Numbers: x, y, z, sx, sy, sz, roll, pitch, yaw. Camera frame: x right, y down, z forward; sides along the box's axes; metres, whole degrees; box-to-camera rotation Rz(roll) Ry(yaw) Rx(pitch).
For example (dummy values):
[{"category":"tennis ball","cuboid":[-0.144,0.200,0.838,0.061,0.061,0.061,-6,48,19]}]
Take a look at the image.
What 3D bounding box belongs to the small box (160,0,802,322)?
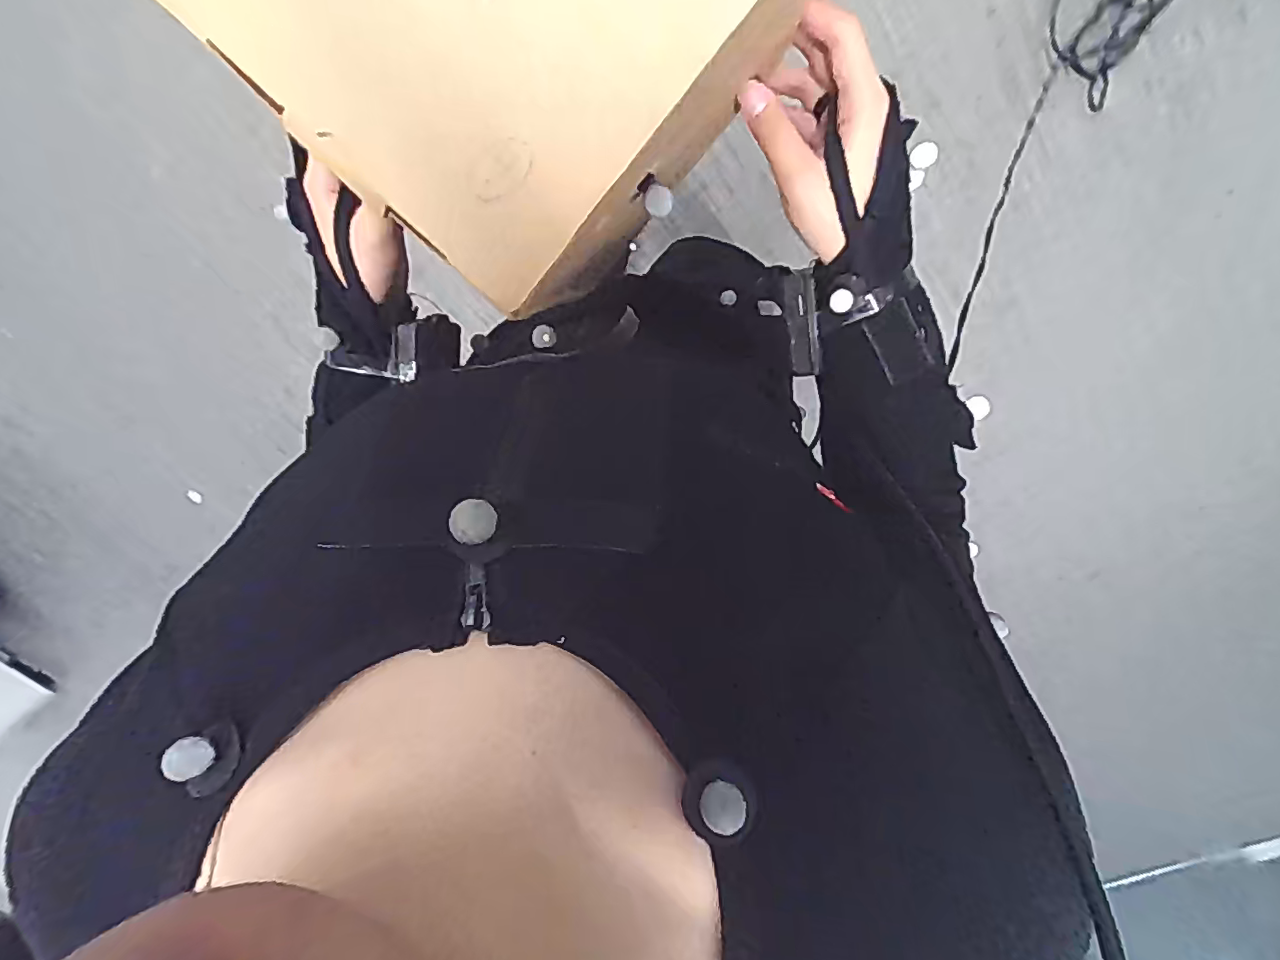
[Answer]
[{"category":"small box","cuboid":[-0.043,-0.198,0.243,0.168,0.176,0.179,43,109,-11]}]
